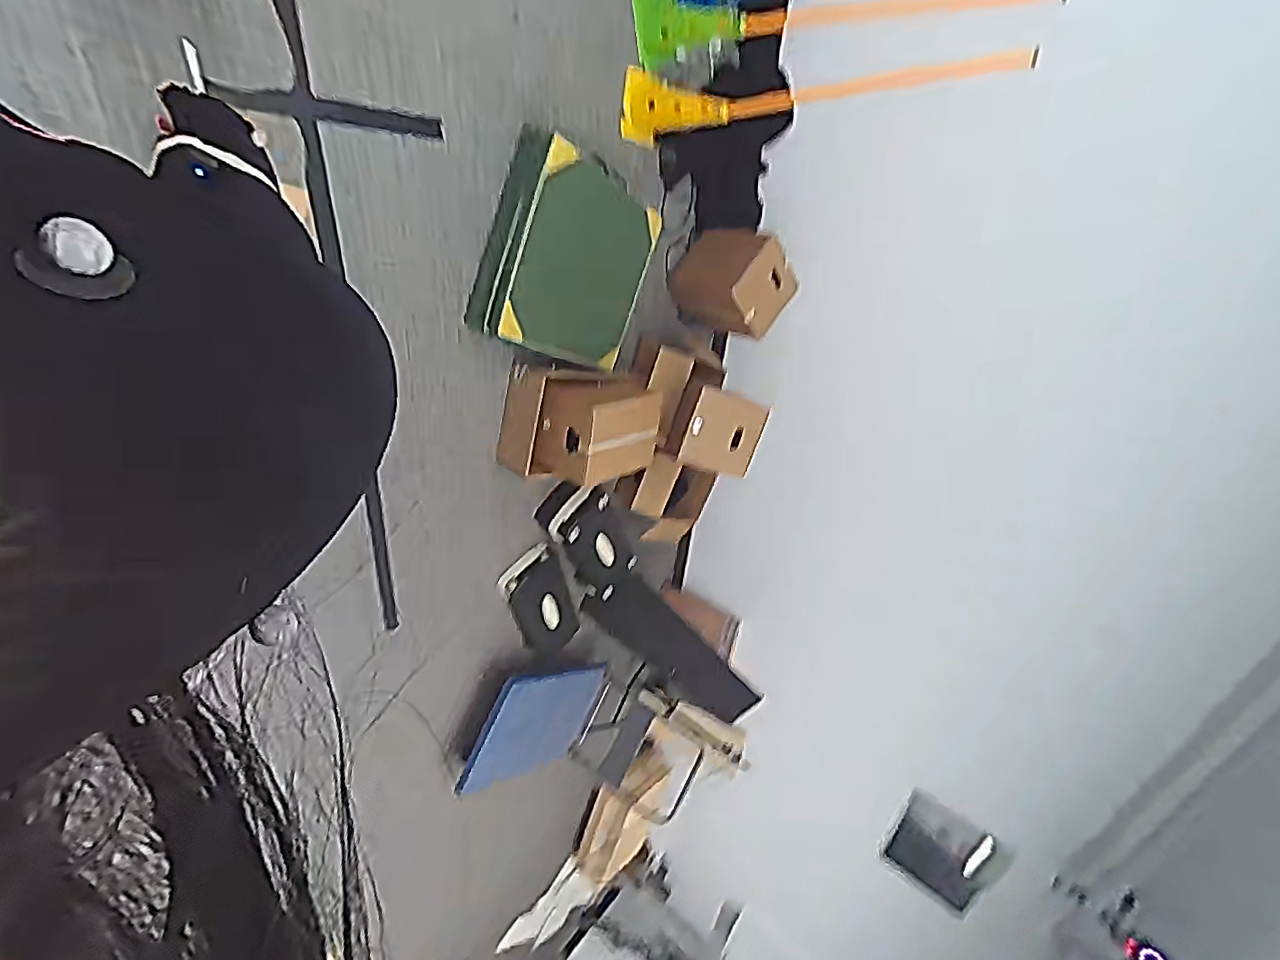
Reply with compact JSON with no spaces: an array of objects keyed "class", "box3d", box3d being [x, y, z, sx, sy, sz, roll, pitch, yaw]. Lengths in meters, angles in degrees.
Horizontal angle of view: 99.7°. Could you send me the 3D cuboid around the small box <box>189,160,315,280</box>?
[{"class":"small box","box3d":[-0.815,-0.543,1.132,0.168,0.176,0.179,-6,120,-55]}]
